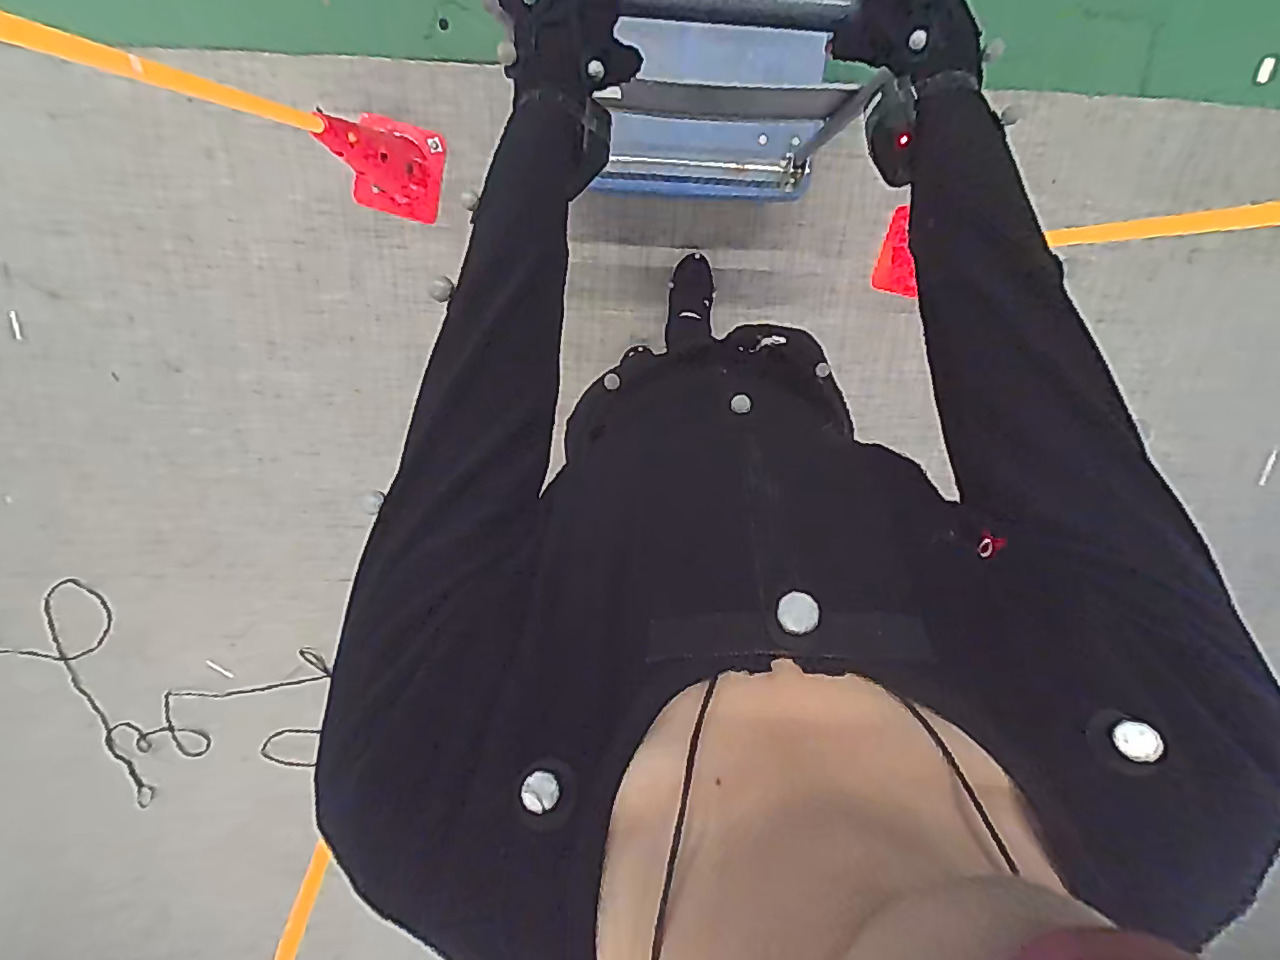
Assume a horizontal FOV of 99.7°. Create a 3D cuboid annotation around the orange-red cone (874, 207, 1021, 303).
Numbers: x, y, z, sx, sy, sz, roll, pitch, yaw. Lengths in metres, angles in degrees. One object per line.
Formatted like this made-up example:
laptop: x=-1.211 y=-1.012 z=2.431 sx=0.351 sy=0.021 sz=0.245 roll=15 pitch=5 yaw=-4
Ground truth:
orange-red cone: x=0.708 y=-0.507 z=1.195 sx=0.198 sy=0.360 sz=0.199 roll=13 pitch=108 yaw=-5
